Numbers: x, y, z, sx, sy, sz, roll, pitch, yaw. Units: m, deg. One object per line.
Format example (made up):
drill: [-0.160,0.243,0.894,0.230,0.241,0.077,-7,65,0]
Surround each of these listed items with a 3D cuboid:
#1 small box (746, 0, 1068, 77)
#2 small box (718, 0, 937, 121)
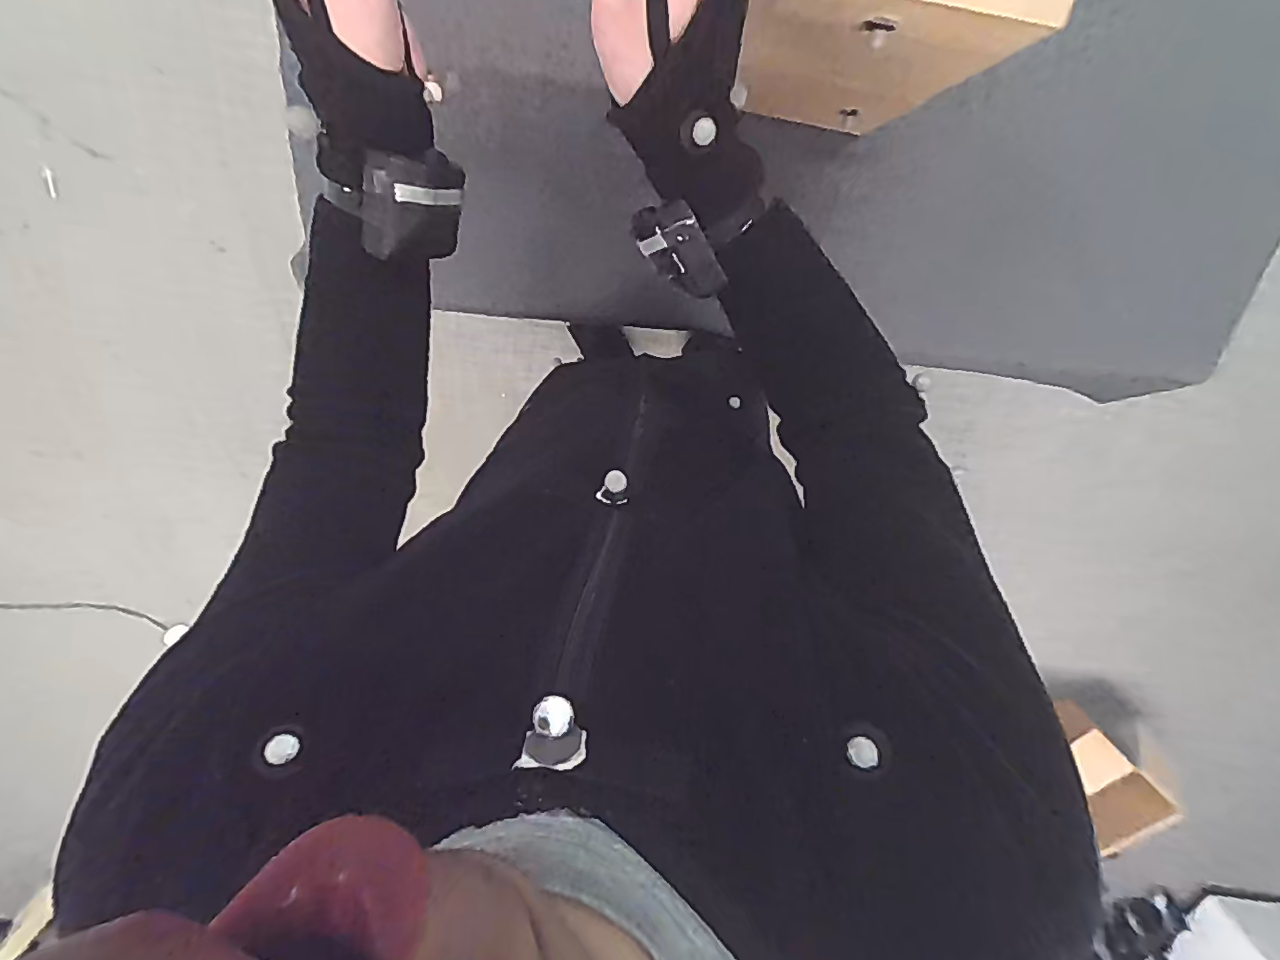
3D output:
small box: [0.182,-0.397,0.357,0.179,0.176,0.168,7,114,-5]
small box: [0.183,-0.461,0.510,0.179,0.176,0.168,9,113,-3]
